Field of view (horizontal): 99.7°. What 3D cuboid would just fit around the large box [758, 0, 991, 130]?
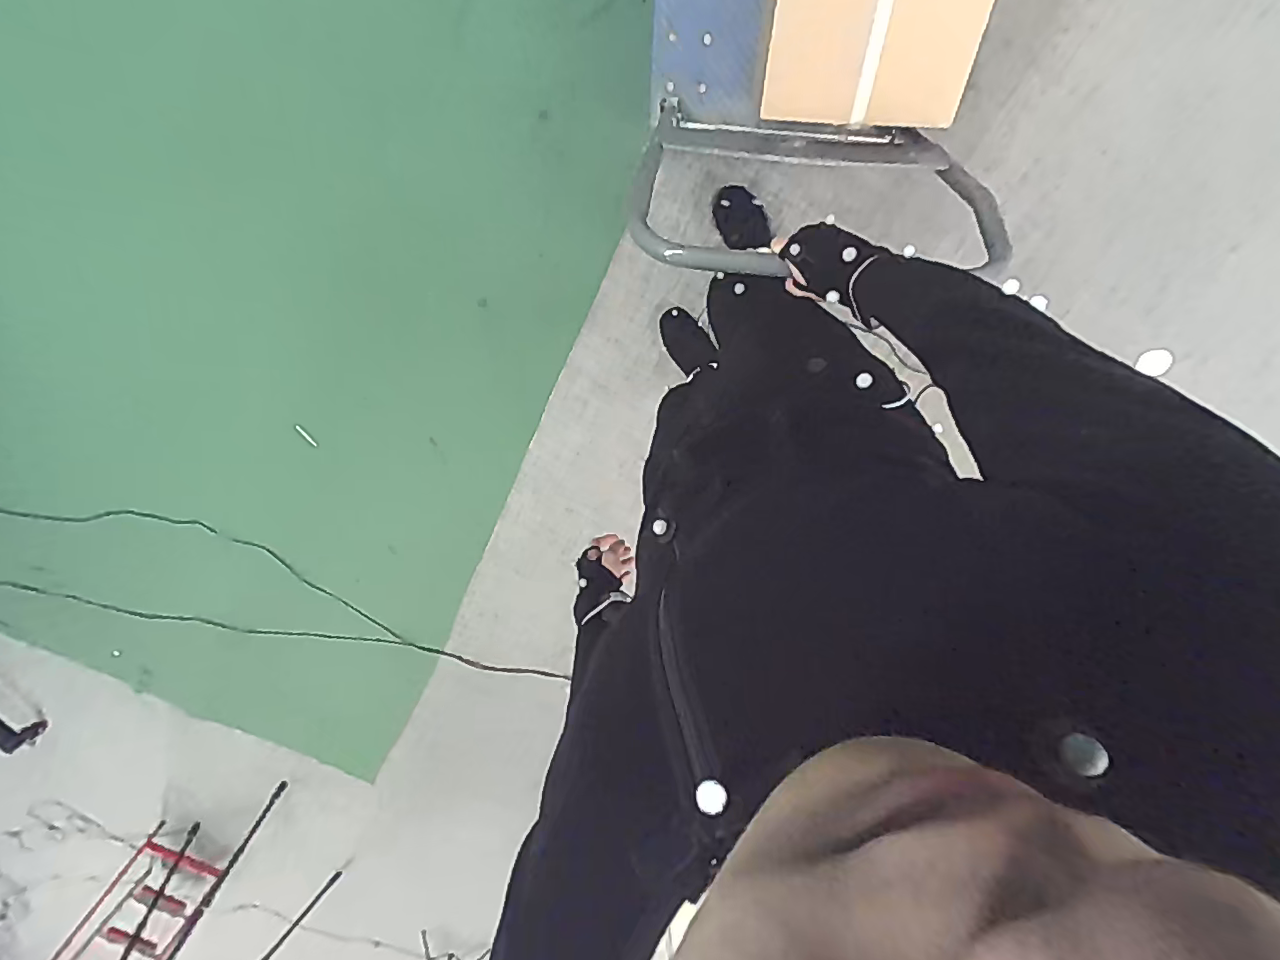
[{"bbox_3d":[0.380,-0.835,0.895,0.320,0.320,0.408,5,129,4],"label":"large box"}]
